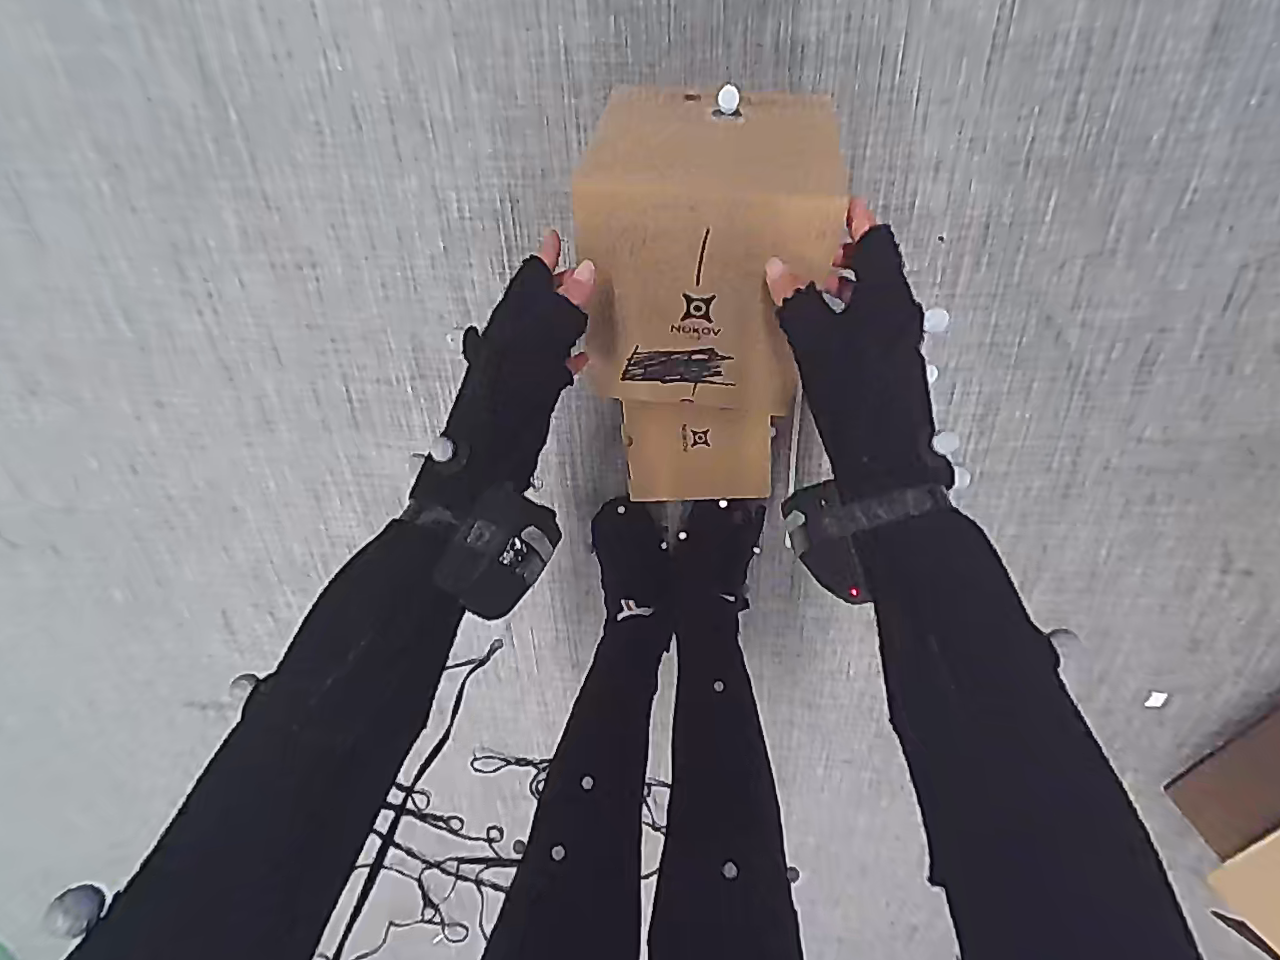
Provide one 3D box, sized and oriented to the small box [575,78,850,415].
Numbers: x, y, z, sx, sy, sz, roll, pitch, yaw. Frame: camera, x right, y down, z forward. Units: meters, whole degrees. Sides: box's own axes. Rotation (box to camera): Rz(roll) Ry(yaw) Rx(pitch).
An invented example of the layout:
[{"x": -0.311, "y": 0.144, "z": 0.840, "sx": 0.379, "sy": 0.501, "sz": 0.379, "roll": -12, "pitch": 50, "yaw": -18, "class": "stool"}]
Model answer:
[{"x": 0.051, "y": -0.178, "z": 0.427, "sx": 0.168, "sy": 0.176, "sz": 0.179, "roll": 6, "pitch": 145, "yaw": 4, "class": "small box"}]
